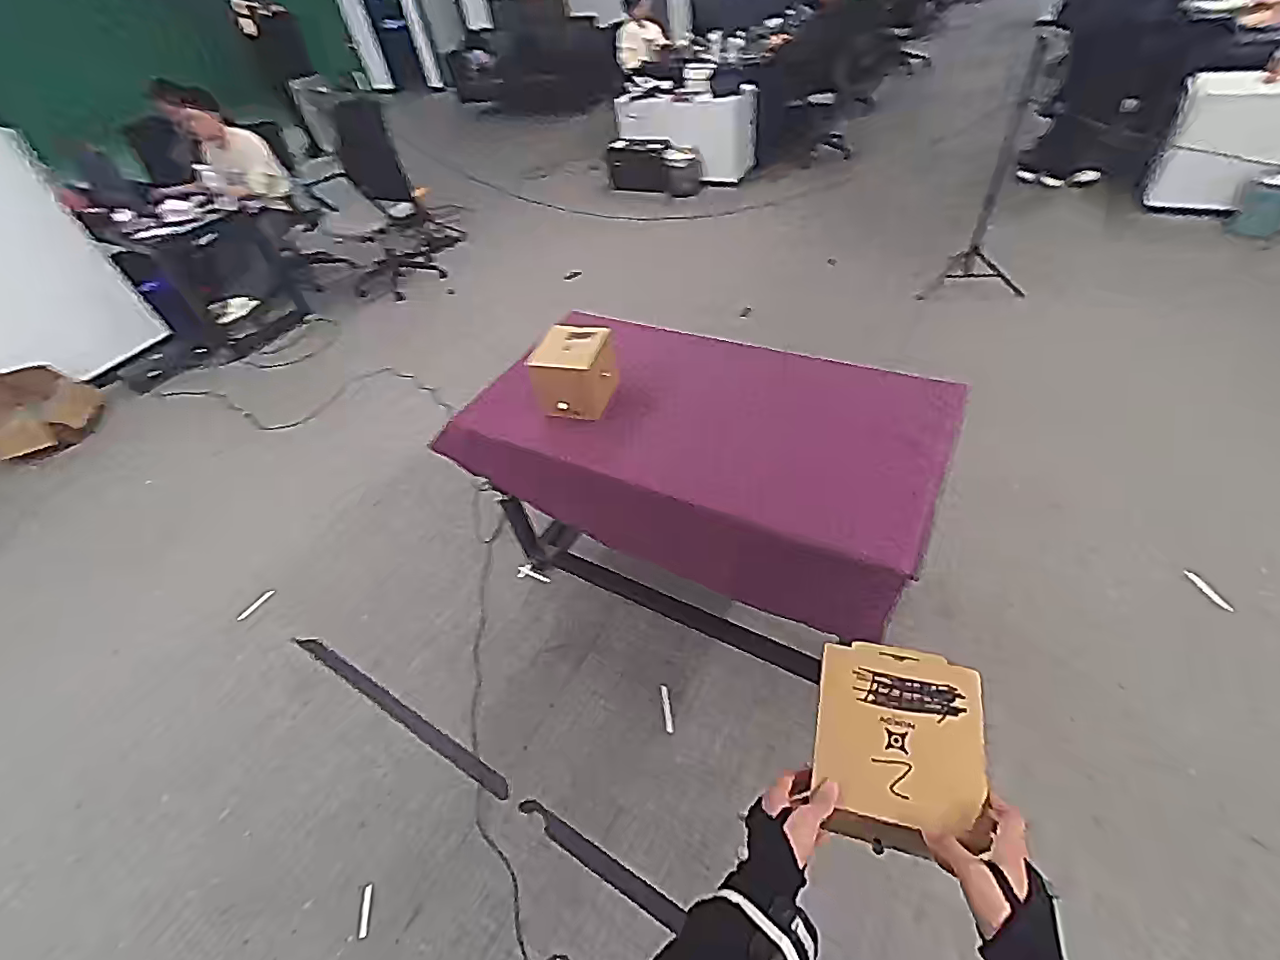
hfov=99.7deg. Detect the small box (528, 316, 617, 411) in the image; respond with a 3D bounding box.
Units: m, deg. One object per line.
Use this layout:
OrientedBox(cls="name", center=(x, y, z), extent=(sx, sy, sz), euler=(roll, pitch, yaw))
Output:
OrientedBox(cls="small box", center=(-0.167, -0.305, 1.415), extent=(0.168, 0.176, 0.179), euler=(8, 51, 17))
